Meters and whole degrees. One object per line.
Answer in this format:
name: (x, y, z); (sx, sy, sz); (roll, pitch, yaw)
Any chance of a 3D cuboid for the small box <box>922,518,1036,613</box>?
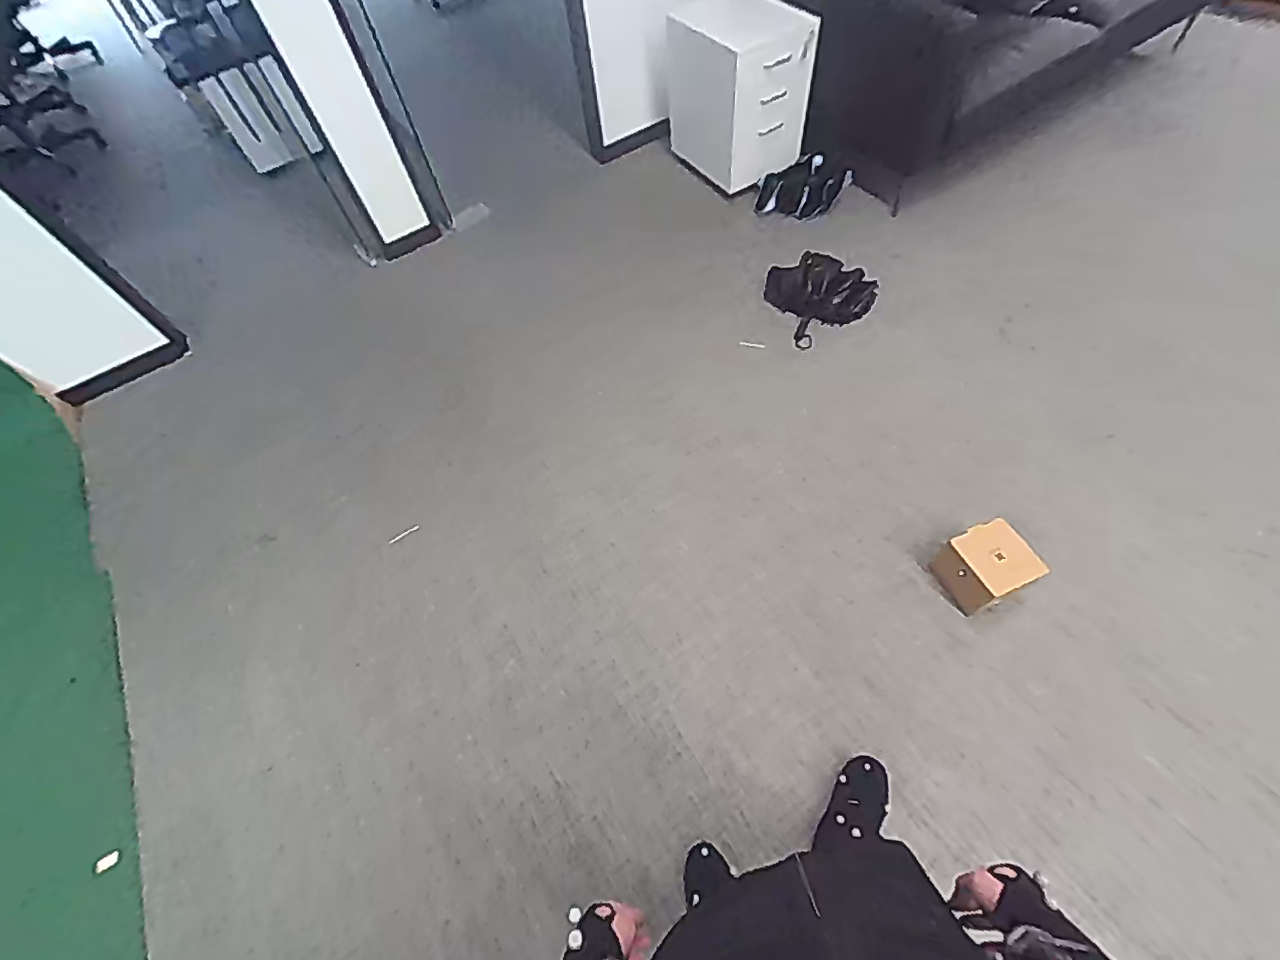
small box: (0.911, 0.236, 1.476); (0.168, 0.176, 0.179); (-22, 61, -7)
